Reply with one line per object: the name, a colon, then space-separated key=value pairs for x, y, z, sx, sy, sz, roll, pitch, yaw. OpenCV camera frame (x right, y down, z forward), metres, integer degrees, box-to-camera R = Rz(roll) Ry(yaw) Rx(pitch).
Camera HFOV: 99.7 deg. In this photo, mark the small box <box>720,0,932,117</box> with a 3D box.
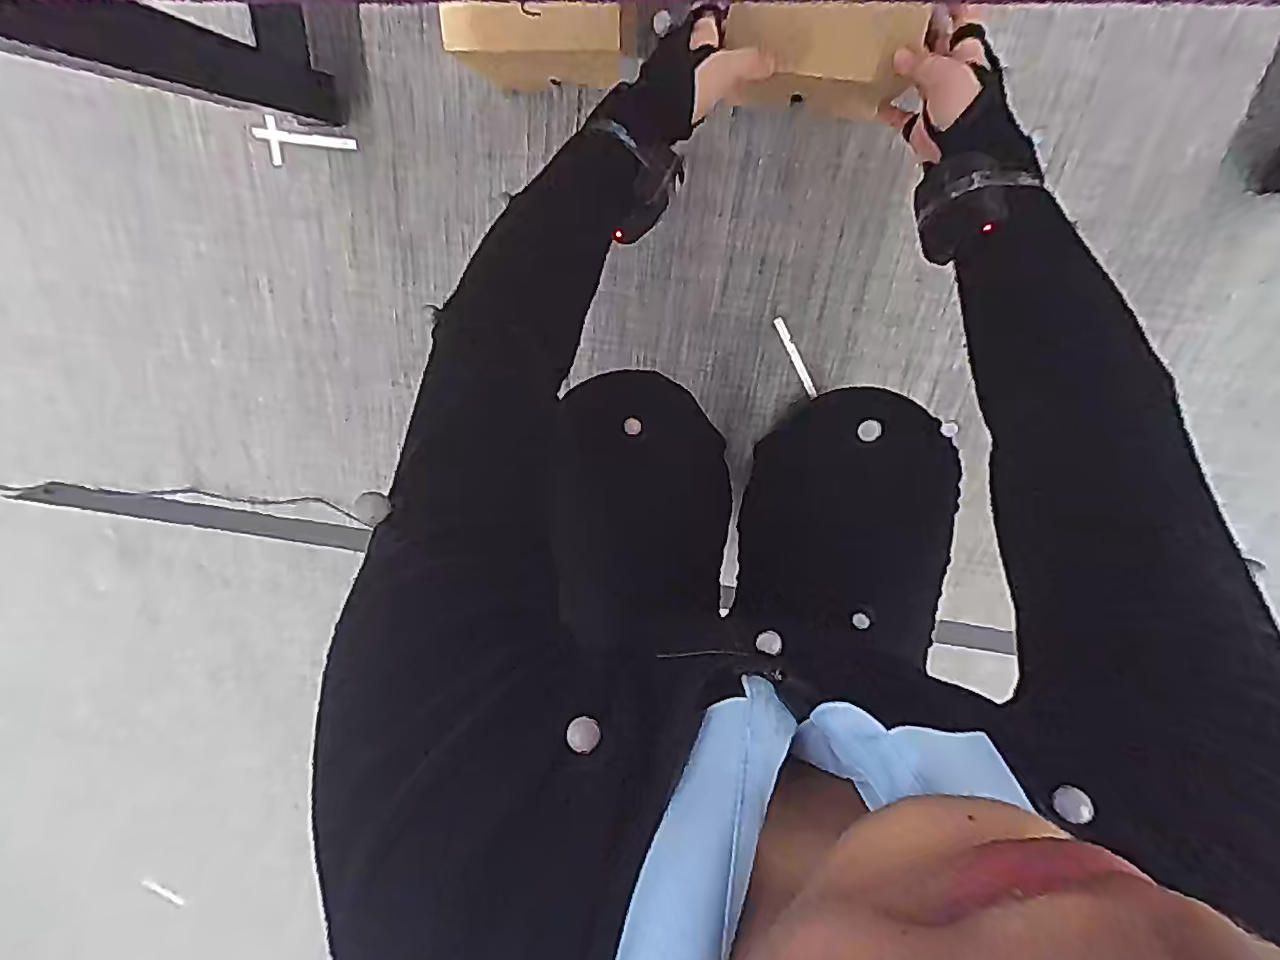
small box: x=0.176 y=-0.462 z=0.506 sx=0.168 sy=0.176 sz=0.179 roll=11 pitch=115 yaw=4
